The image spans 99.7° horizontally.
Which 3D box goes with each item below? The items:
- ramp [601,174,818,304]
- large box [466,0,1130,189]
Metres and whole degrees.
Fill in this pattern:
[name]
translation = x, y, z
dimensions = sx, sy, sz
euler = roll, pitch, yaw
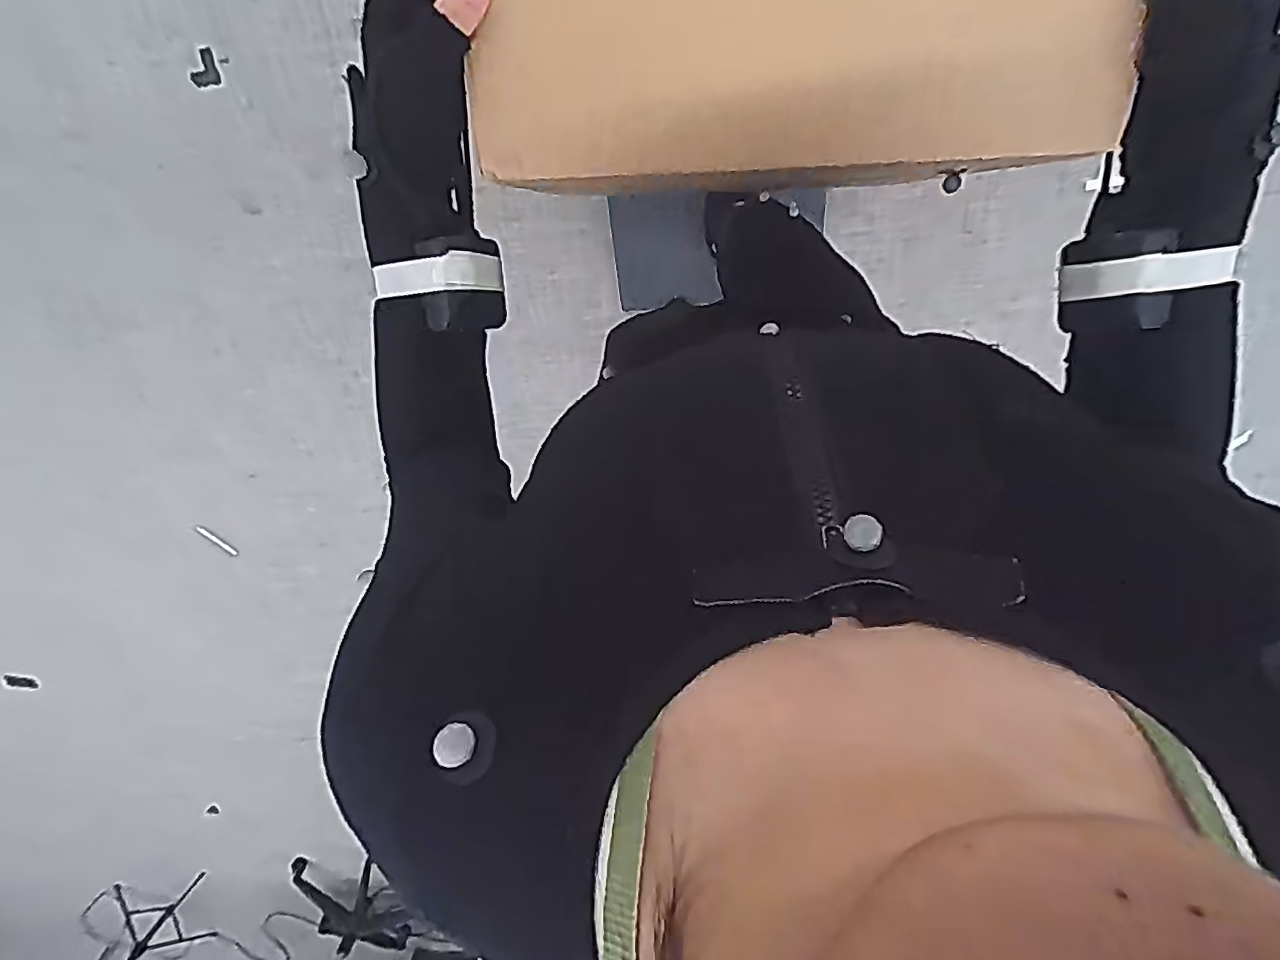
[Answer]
[ramp]
translation = 0.129, -0.877, 1.078
dimensions = 0.509, 0.206, 0.991
euler = -7, 114, 4
[large box]
translation = 0.094, -0.416, 0.425
dimensions = 0.408, 0.320, 0.320
euler = -2, 115, 2
